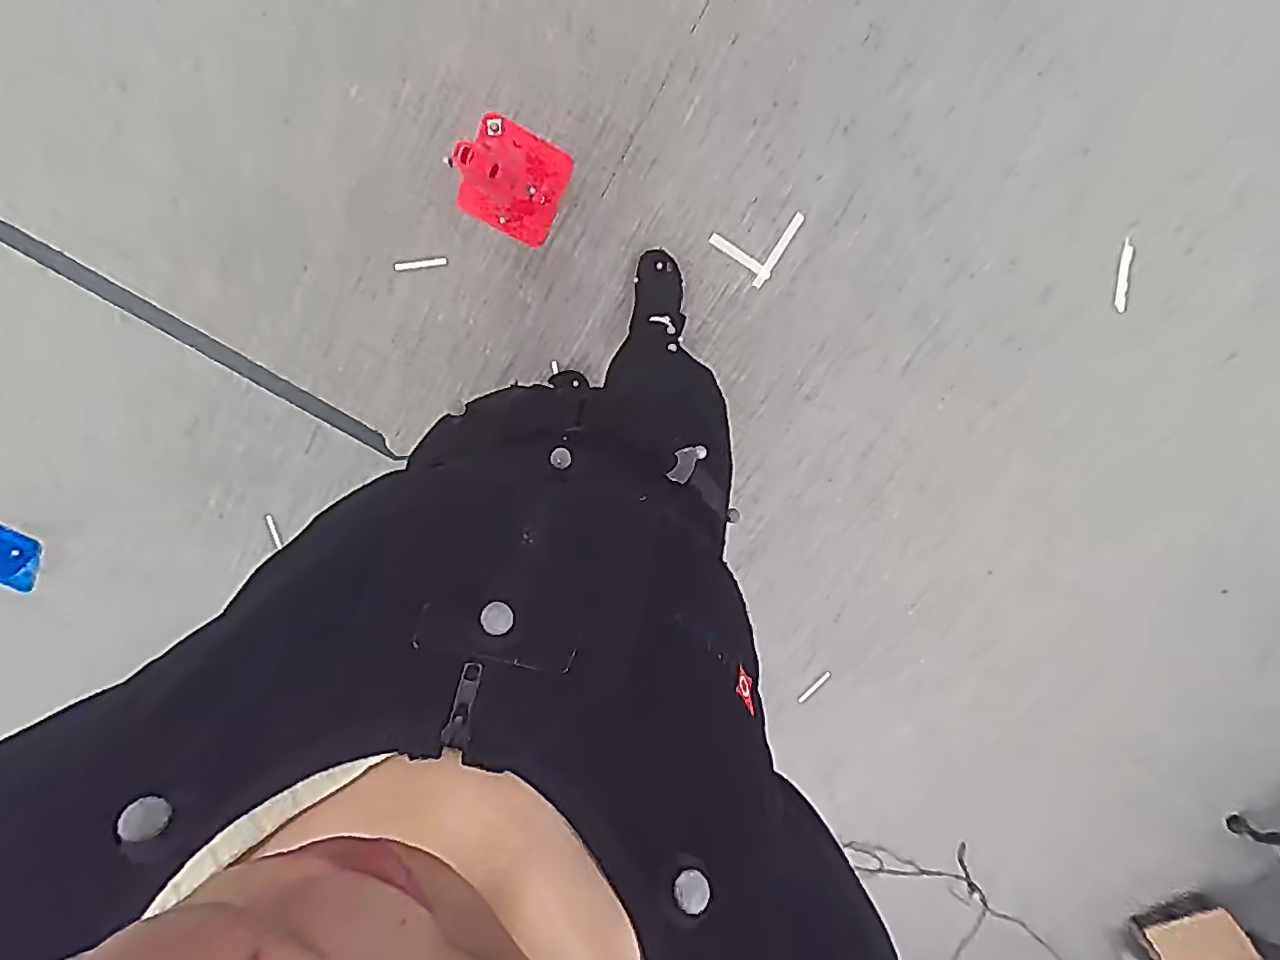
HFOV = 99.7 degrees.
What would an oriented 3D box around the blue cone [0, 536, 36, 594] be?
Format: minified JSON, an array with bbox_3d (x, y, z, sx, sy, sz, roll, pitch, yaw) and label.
[{"bbox_3d":[-1.771,0.285,1.335,0.193,0.380,0.192,32,110,-12],"label":"blue cone"}]

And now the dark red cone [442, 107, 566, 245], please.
[{"bbox_3d":[-0.268,-0.547,0.952,0.202,0.394,0.201,24,112,-10],"label":"dark red cone"}]
